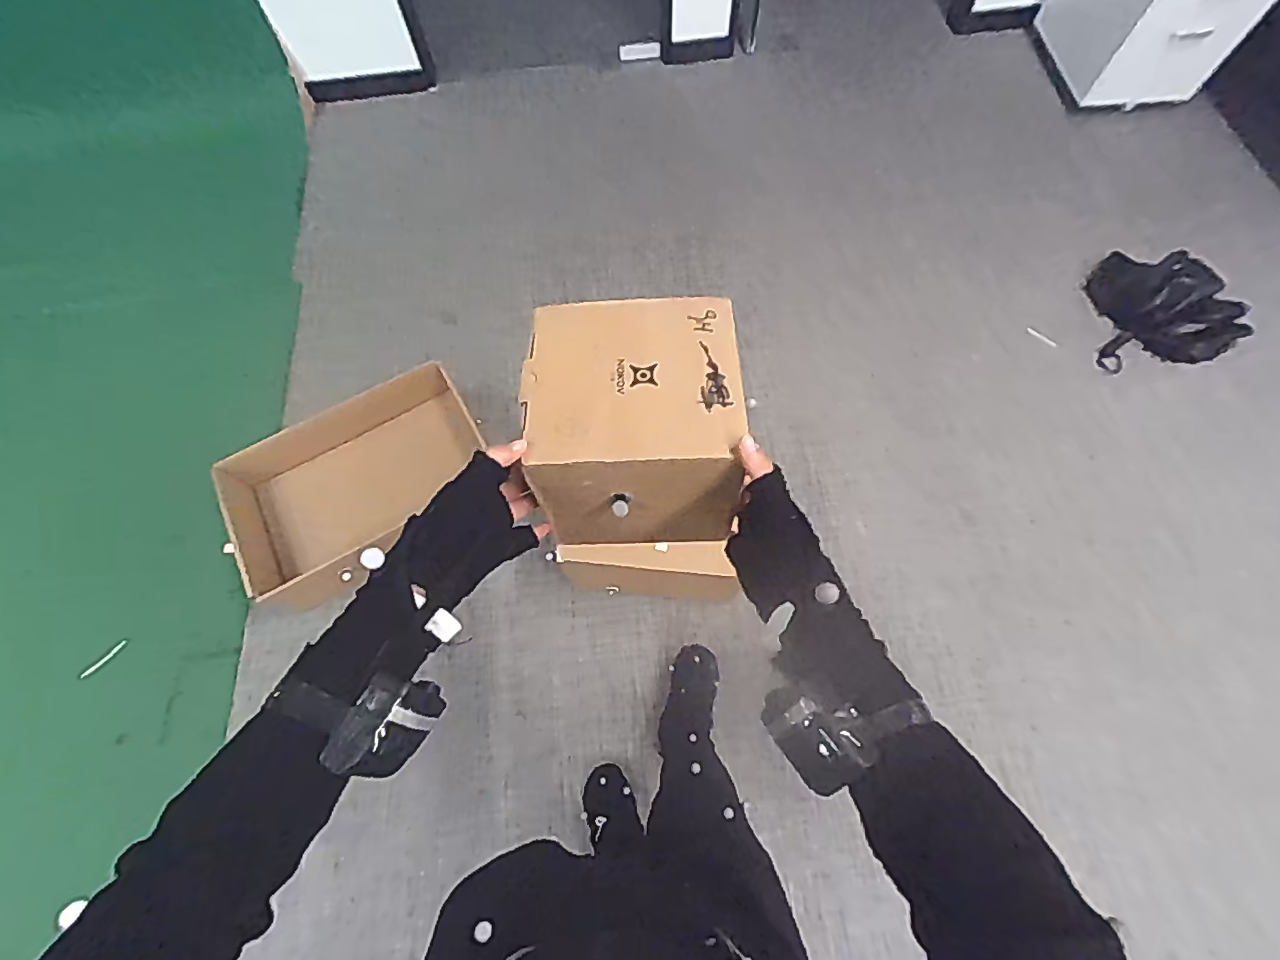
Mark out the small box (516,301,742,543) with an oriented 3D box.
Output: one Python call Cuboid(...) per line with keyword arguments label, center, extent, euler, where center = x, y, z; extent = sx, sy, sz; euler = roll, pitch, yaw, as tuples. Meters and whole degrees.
Cuboid(label="small box", center=(-0.005, -0.046, 0.516), extent=(0.179, 0.176, 0.168), euler=(-2, 62, 2))
